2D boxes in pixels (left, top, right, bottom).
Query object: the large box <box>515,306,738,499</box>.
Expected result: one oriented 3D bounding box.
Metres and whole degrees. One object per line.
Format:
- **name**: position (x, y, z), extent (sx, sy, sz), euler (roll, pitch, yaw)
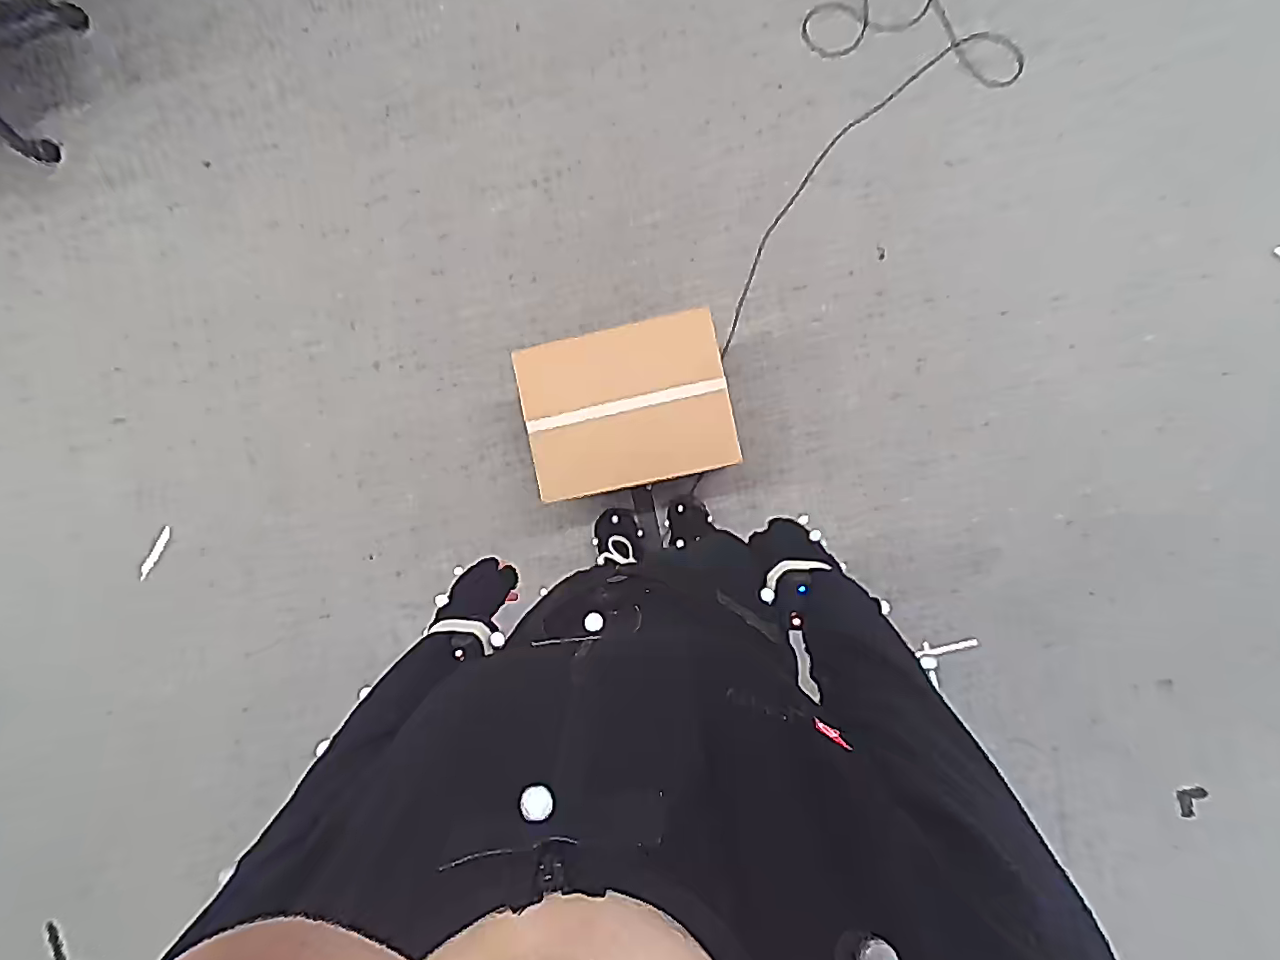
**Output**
- **large box**: position (-0.020, -0.153, 1.221), extent (0.408, 0.320, 0.320), euler (-12, 91, 5)
